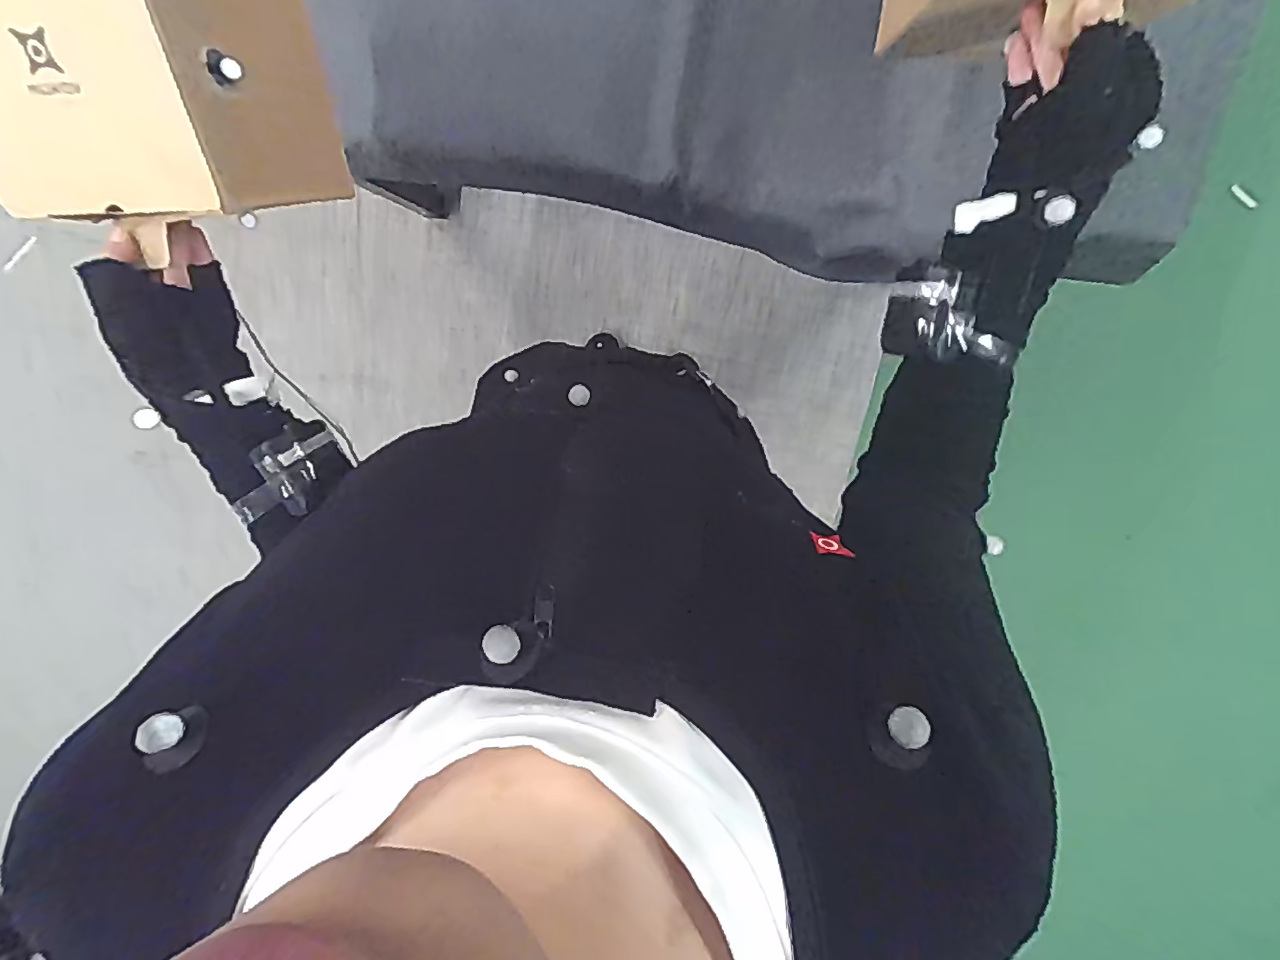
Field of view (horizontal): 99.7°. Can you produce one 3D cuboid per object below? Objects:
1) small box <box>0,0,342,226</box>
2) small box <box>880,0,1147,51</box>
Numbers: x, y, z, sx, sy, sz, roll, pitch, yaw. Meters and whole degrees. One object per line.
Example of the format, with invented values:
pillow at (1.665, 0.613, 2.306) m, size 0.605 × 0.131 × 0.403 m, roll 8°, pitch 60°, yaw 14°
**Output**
small box at (-0.354, -0.290, 0.389) m, size 0.168 × 0.176 × 0.179 m, roll 0°, pitch 120°, yaw 5°
small box at (0.279, -0.413, 0.358) m, size 0.168 × 0.176 × 0.179 m, roll 3°, pitch 114°, yaw 3°
